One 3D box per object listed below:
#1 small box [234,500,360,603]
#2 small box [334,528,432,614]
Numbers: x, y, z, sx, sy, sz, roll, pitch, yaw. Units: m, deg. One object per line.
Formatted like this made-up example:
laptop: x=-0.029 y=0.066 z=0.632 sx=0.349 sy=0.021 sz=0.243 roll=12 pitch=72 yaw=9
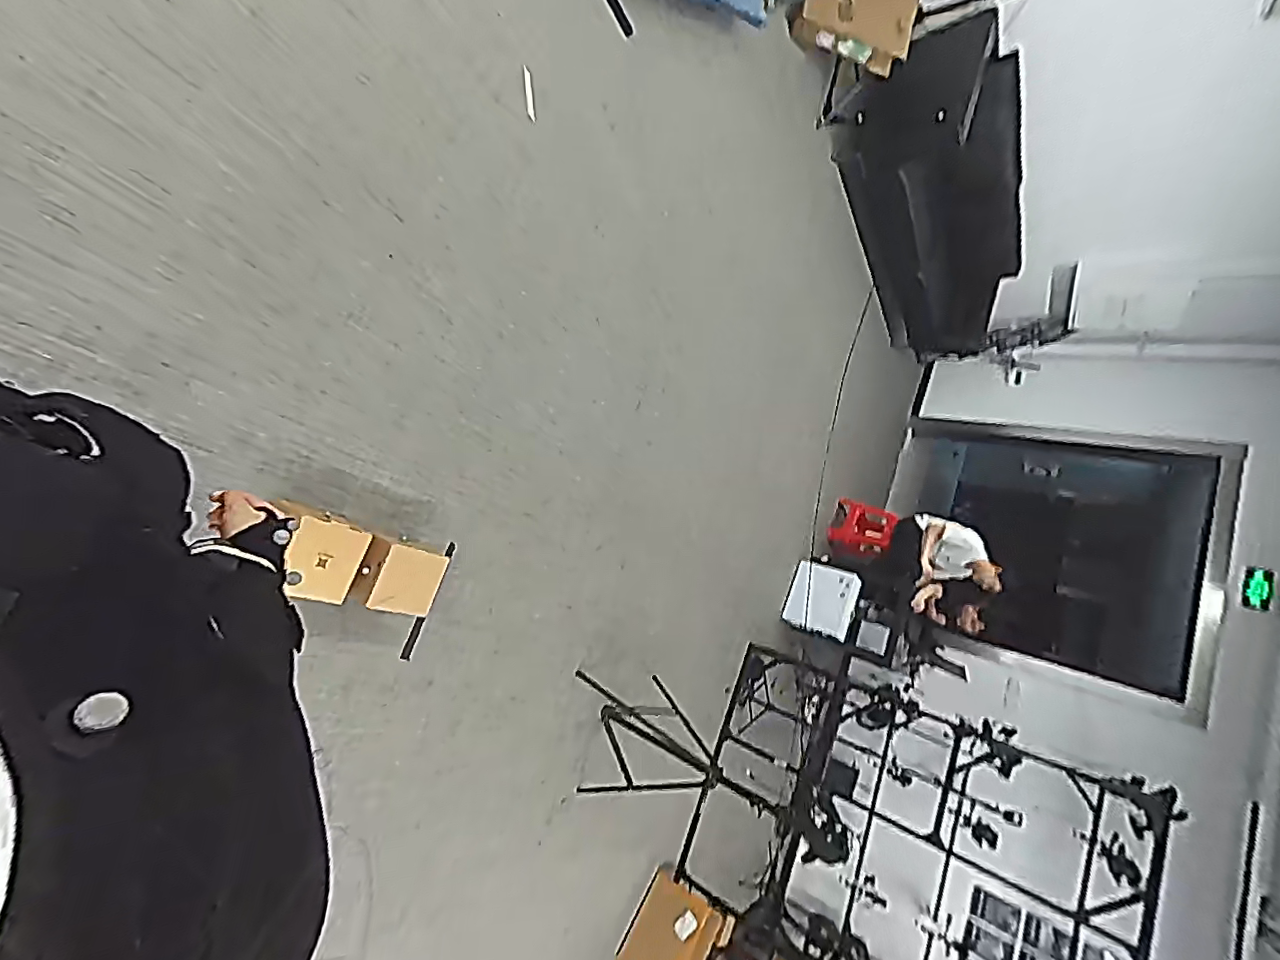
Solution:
small box: x=-0.797 y=0.164 z=1.250 sx=0.168 sy=0.176 sz=0.179 roll=35 pitch=72 yaw=-51
small box: x=-0.678 y=0.242 z=1.423 sx=0.179 sy=0.176 sz=0.168 roll=33 pitch=73 yaw=-52
